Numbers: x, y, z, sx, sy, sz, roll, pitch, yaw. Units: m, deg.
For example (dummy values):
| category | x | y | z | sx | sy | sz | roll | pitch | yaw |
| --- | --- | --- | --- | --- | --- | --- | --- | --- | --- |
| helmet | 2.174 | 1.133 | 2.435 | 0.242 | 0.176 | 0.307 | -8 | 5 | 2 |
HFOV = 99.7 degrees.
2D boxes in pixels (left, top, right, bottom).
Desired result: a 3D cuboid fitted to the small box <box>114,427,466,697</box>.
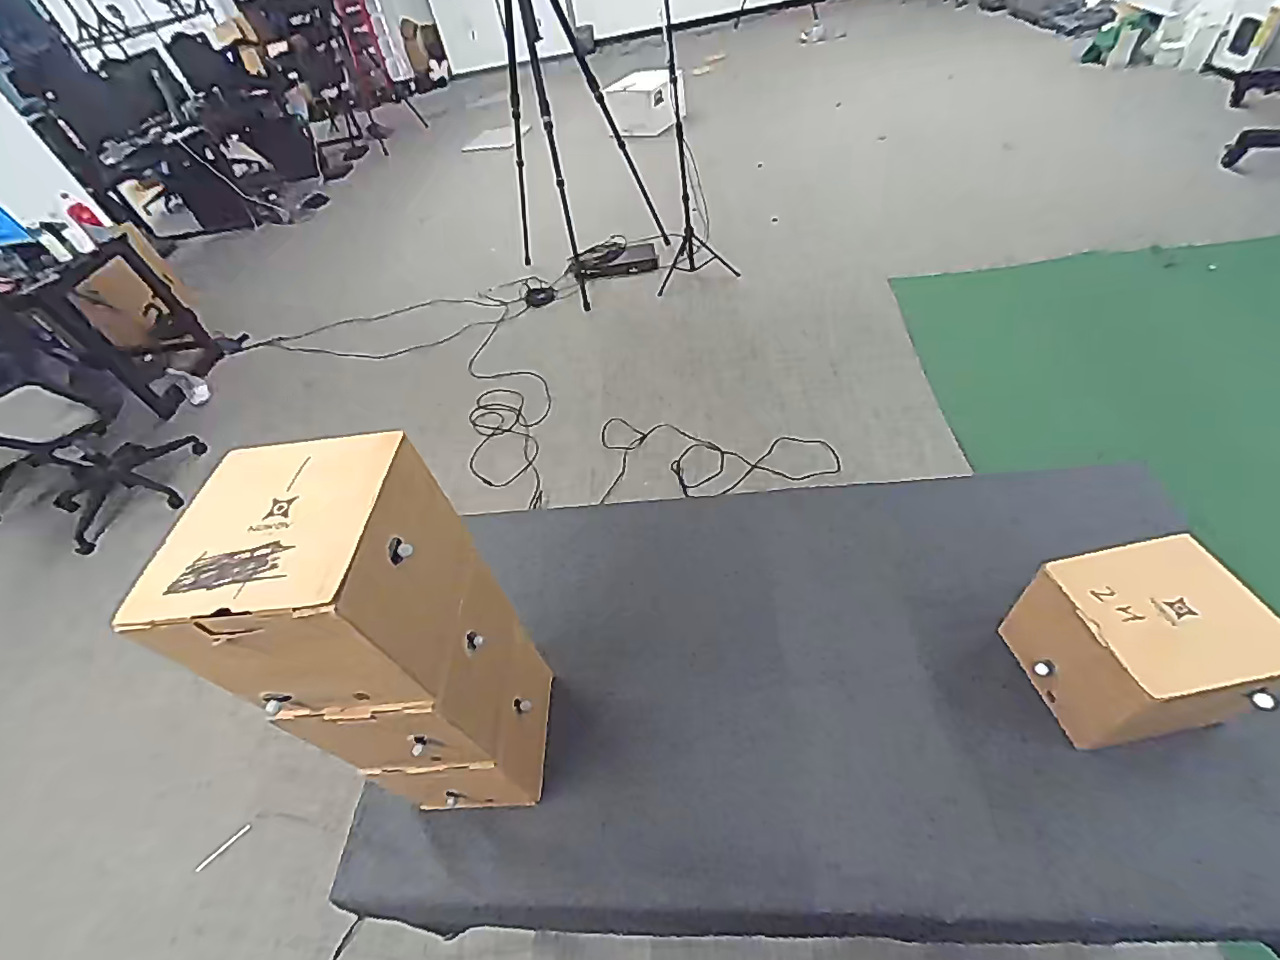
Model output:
| category | x | y | z | sx | sy | sz | roll | pitch | yaw |
| --- | --- | --- | --- | --- | --- | --- | --- | --- | --- |
| small box | -0.272 | 0.079 | 0.478 | 0.168 | 0.176 | 0.179 | -6 | 47 | 5 |

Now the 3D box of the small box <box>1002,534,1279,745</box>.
| category | x | y | z | sx | sy | sz | roll | pitch | yaw |
| --- | --- | --- | --- | --- | --- | --- | --- | --- | --- |
| small box | 0.578 | 0.191 | 0.637 | 0.179 | 0.176 | 0.168 | -12 | 47 | 2 |

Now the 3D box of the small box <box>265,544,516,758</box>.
| category | x | y | z | sx | sy | sz | roll | pitch | yaw |
| --- | --- | --- | --- | --- | --- | --- | --- | --- | --- |
| small box | -0.248 | 0.193 | 0.593 | 0.168 | 0.176 | 0.179 | -5 | 48 | 6 |

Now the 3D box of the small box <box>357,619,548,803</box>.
| category | x | y | z | sx | sy | sz | roll | pitch | yaw |
| --- | --- | --- | --- | --- | --- | --- | --- | --- | --- |
| small box | -0.226 | 0.304 | 0.710 | 0.168 | 0.176 | 0.179 | -6 | 48 | 6 |
